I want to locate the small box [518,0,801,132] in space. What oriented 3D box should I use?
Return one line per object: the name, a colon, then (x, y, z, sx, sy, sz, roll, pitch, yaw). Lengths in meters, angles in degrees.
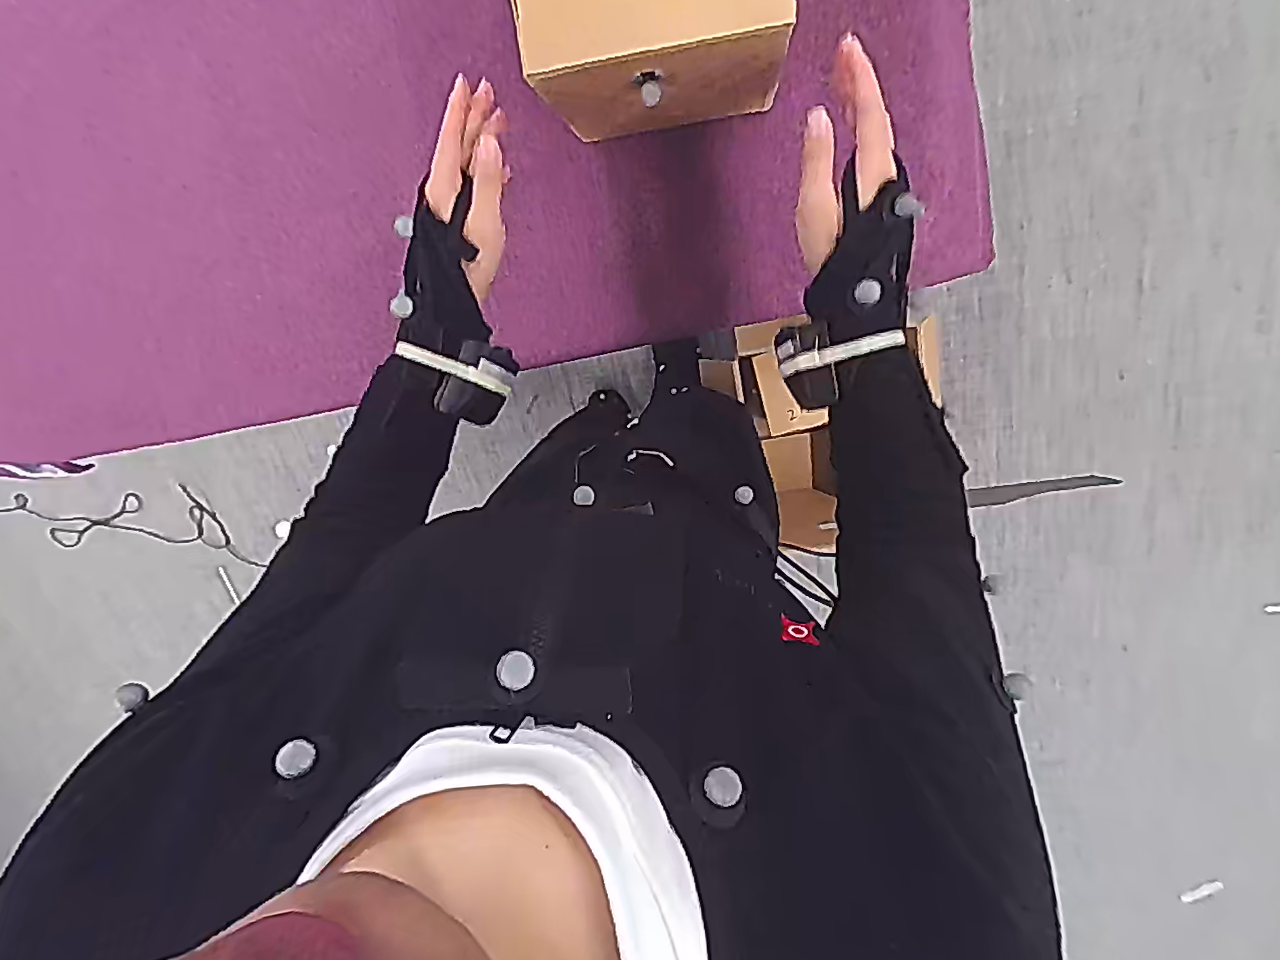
small box: (0.014, -0.375, 0.388, 0.179, 0.176, 0.168, -3, 109, 10)
